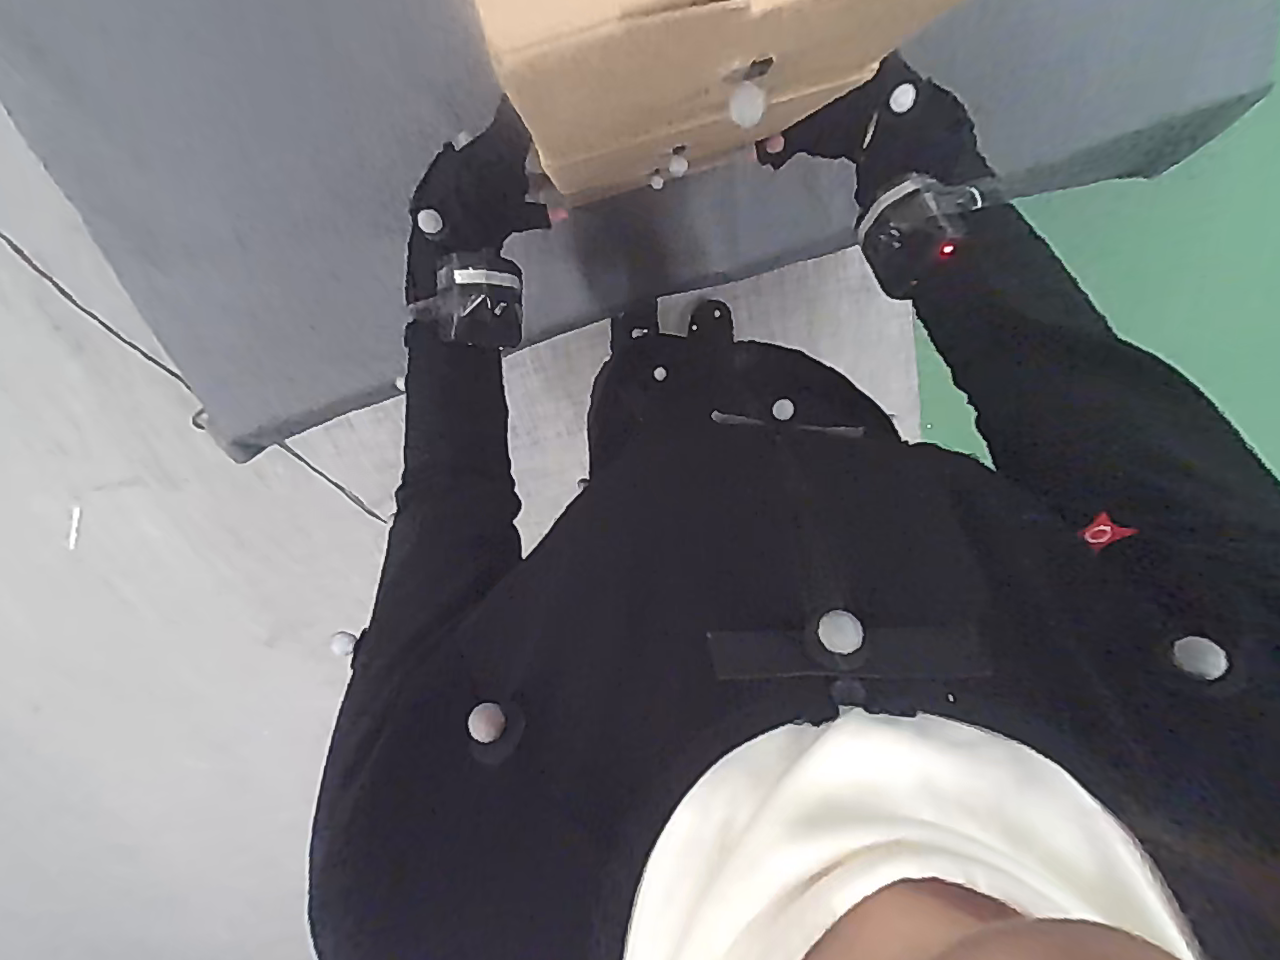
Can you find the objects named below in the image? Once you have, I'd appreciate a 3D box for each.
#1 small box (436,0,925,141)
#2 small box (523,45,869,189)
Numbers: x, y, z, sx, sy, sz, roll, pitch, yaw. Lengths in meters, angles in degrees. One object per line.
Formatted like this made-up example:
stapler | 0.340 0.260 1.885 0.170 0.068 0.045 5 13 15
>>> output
small box | 0.010 -0.223 0.160 0.168 0.176 0.179 -16 114 4
small box | 0.006 -0.283 0.311 0.179 0.176 0.168 -15 114 4
